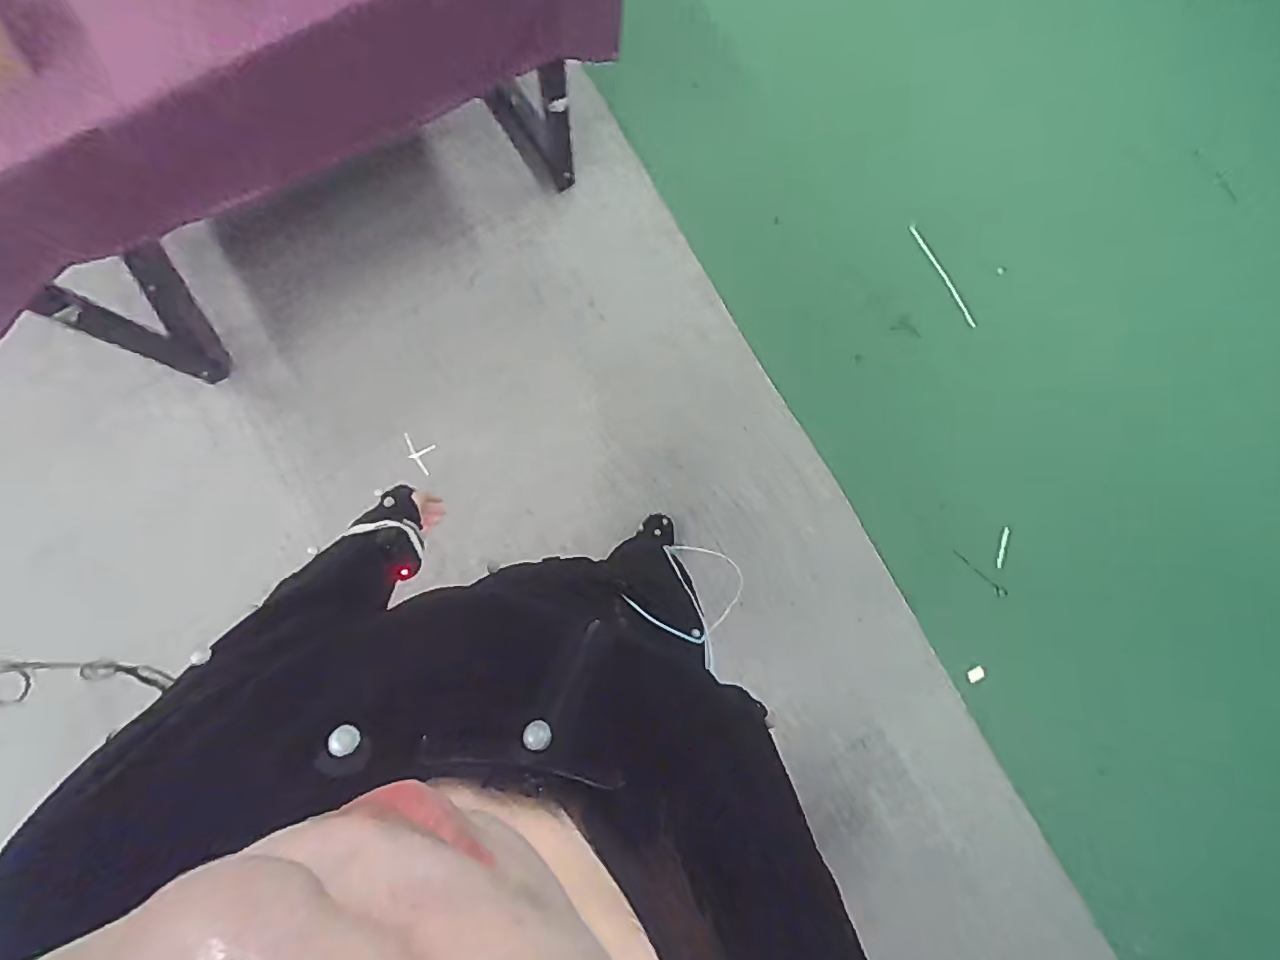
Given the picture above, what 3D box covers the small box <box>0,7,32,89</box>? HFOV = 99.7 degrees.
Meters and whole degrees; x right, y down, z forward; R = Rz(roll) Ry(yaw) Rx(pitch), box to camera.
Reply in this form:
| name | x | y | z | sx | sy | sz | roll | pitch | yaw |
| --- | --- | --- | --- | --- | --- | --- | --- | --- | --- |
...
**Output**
| name | x | y | z | sx | sy | sz | roll | pitch | yaw |
| --- | --- | --- | --- | --- | --- | --- | --- | --- | --- |
| small box | -0.999 | -0.640 | 0.720 | 0.168 | 0.176 | 0.179 | -33 | 86 | -7 |
